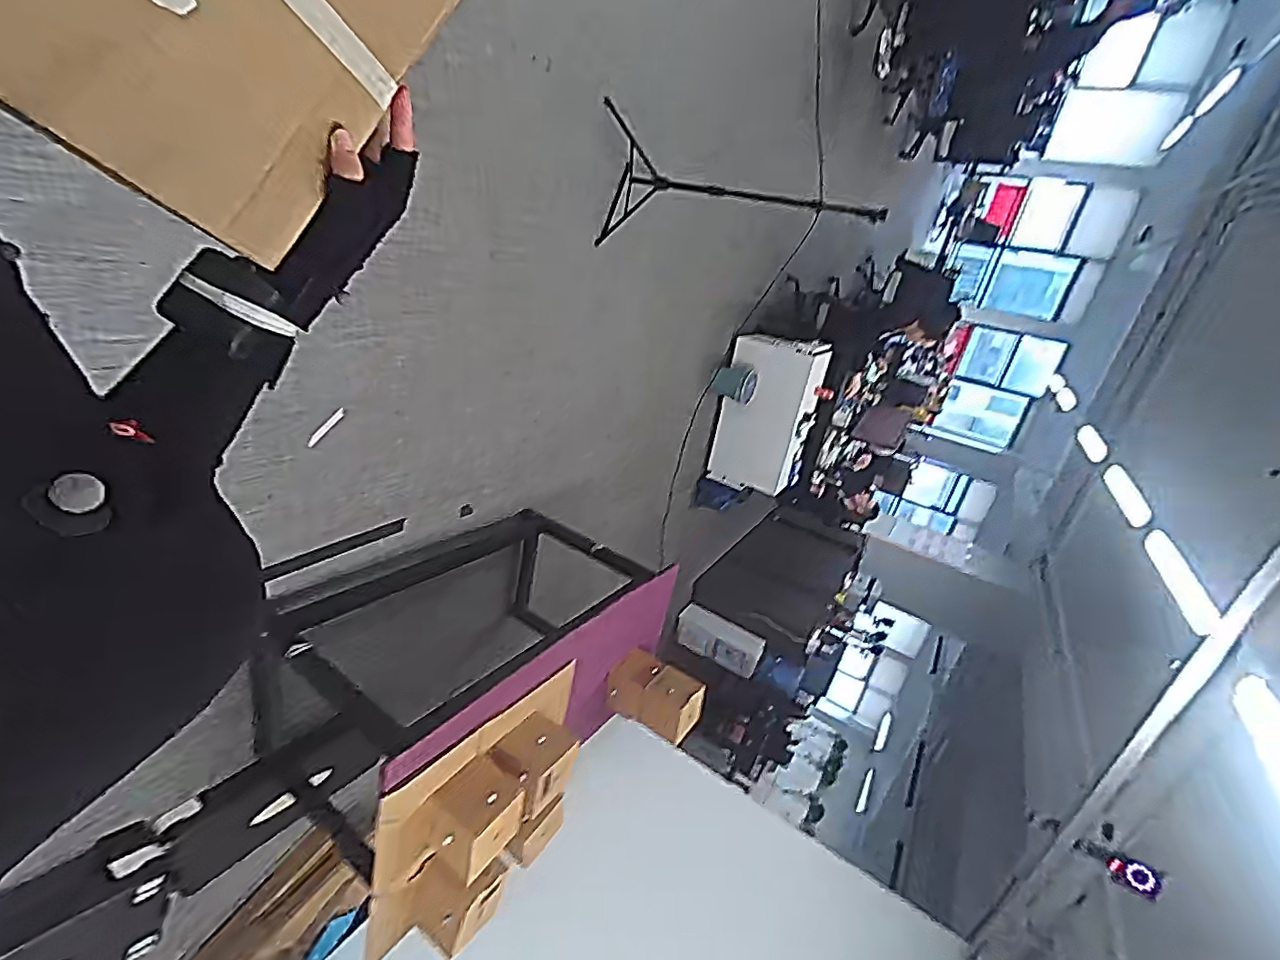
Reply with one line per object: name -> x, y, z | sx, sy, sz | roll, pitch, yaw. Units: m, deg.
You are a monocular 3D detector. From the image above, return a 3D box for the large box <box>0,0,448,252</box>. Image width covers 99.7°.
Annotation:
large box -> -0.390, -0.419, 0.321 | 0.320, 0.320, 0.408 | -58, 149, -3
